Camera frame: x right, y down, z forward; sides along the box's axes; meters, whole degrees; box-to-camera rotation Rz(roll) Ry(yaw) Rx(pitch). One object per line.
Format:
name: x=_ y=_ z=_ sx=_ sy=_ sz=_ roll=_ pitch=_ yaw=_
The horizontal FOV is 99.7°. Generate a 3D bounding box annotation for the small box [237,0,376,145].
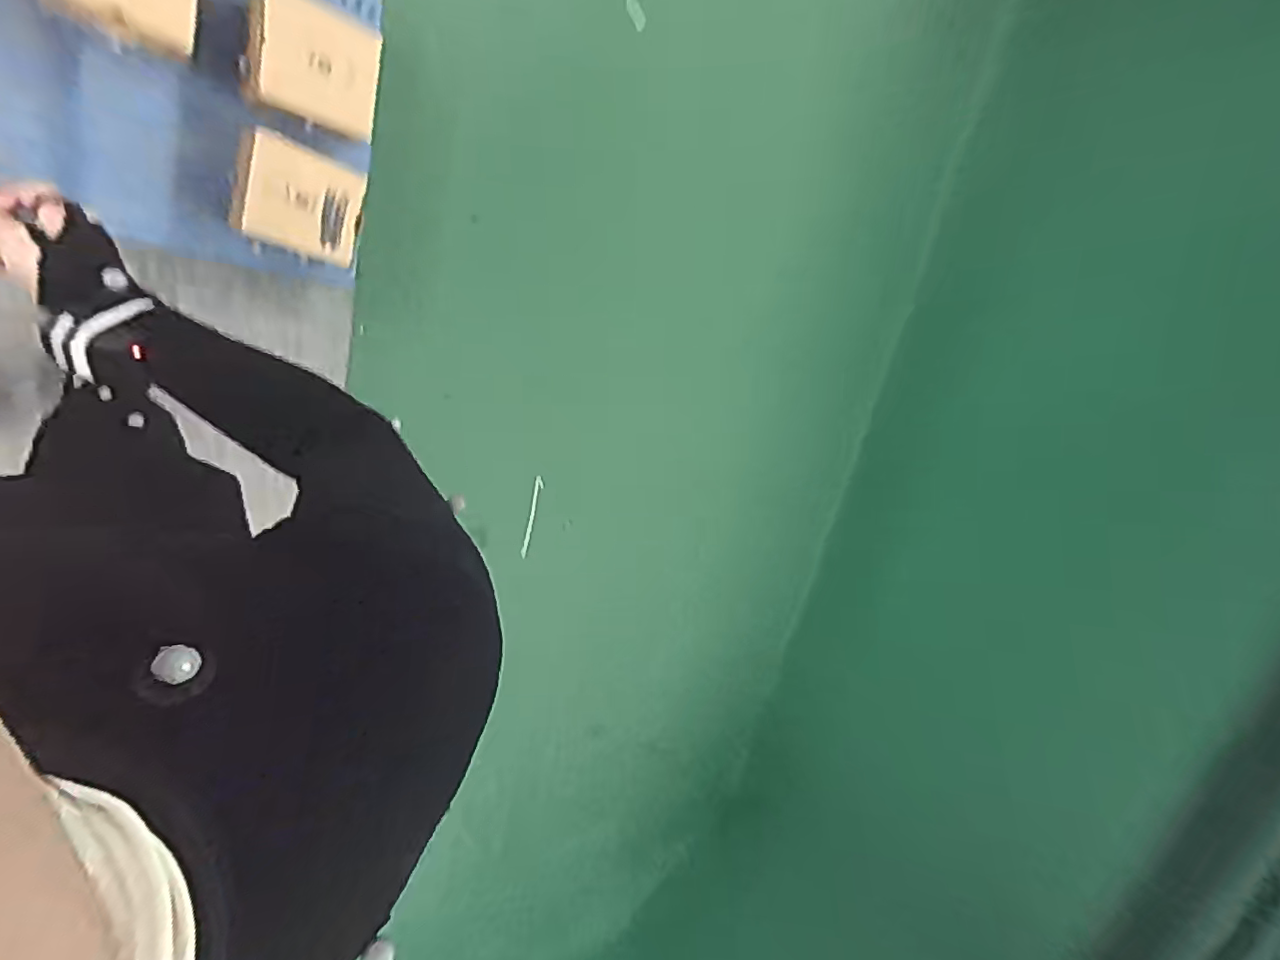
small box: x=-0.598 y=-0.721 z=0.963 sx=0.179 sy=0.176 sz=0.168 roll=1 pitch=110 yaw=-45
